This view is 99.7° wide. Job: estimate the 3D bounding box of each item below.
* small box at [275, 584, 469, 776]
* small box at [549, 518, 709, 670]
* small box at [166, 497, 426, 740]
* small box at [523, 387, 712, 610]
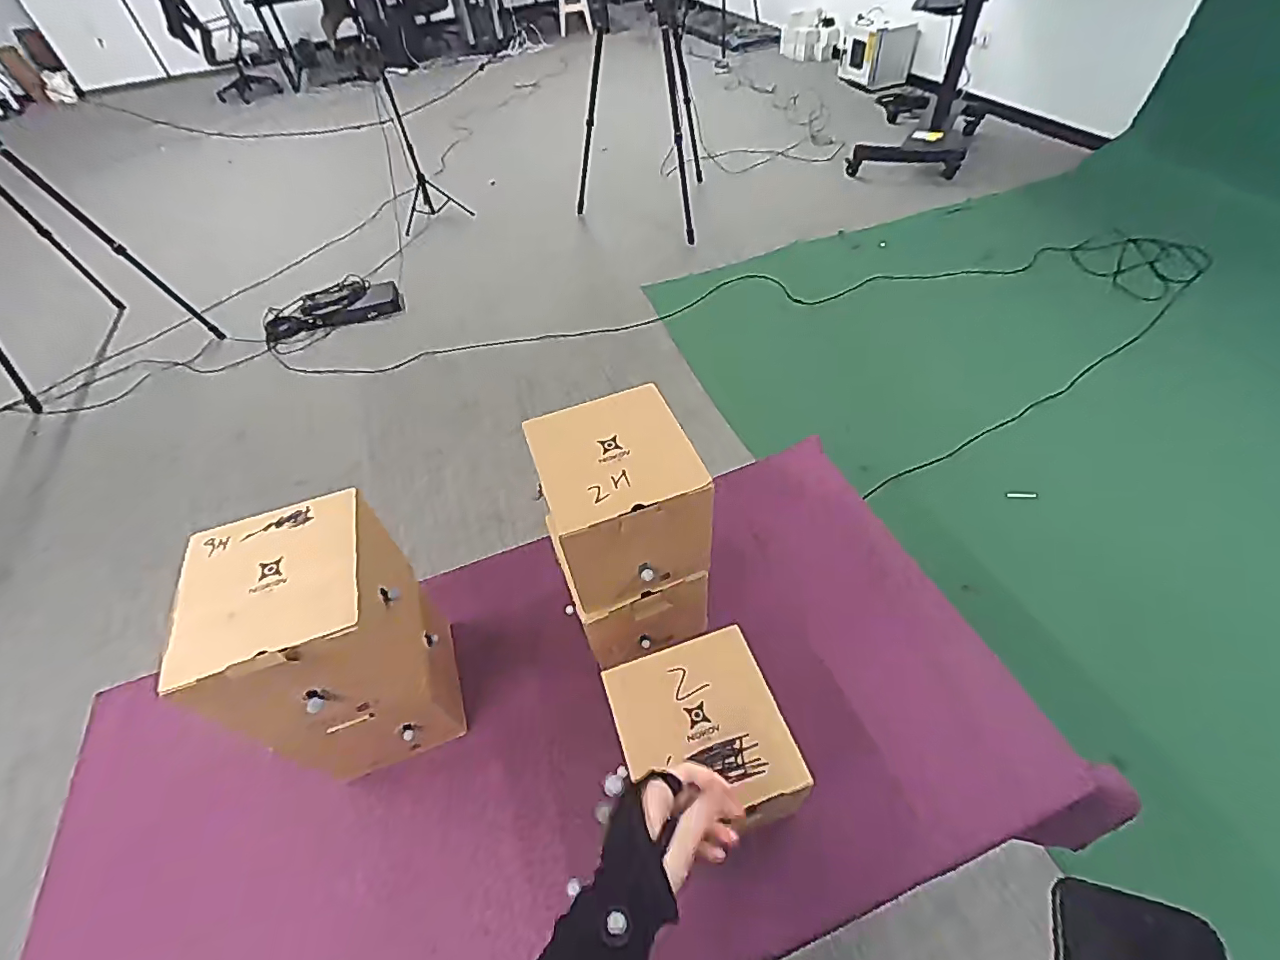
[{"bbox_3d":[-0.336,0.260,0.701,0.168,0.176,0.179,-19,50,-10],"label":"small box"},{"bbox_3d":[-0.015,0.136,0.766,0.168,0.176,0.179,-21,52,-11],"label":"small box"},{"bbox_3d":[-0.343,0.153,0.575,0.168,0.176,0.179,-18,51,-11],"label":"small box"},{"bbox_3d":[-0.026,0.023,0.646,0.168,0.176,0.179,-19,52,-9],"label":"small box"}]
